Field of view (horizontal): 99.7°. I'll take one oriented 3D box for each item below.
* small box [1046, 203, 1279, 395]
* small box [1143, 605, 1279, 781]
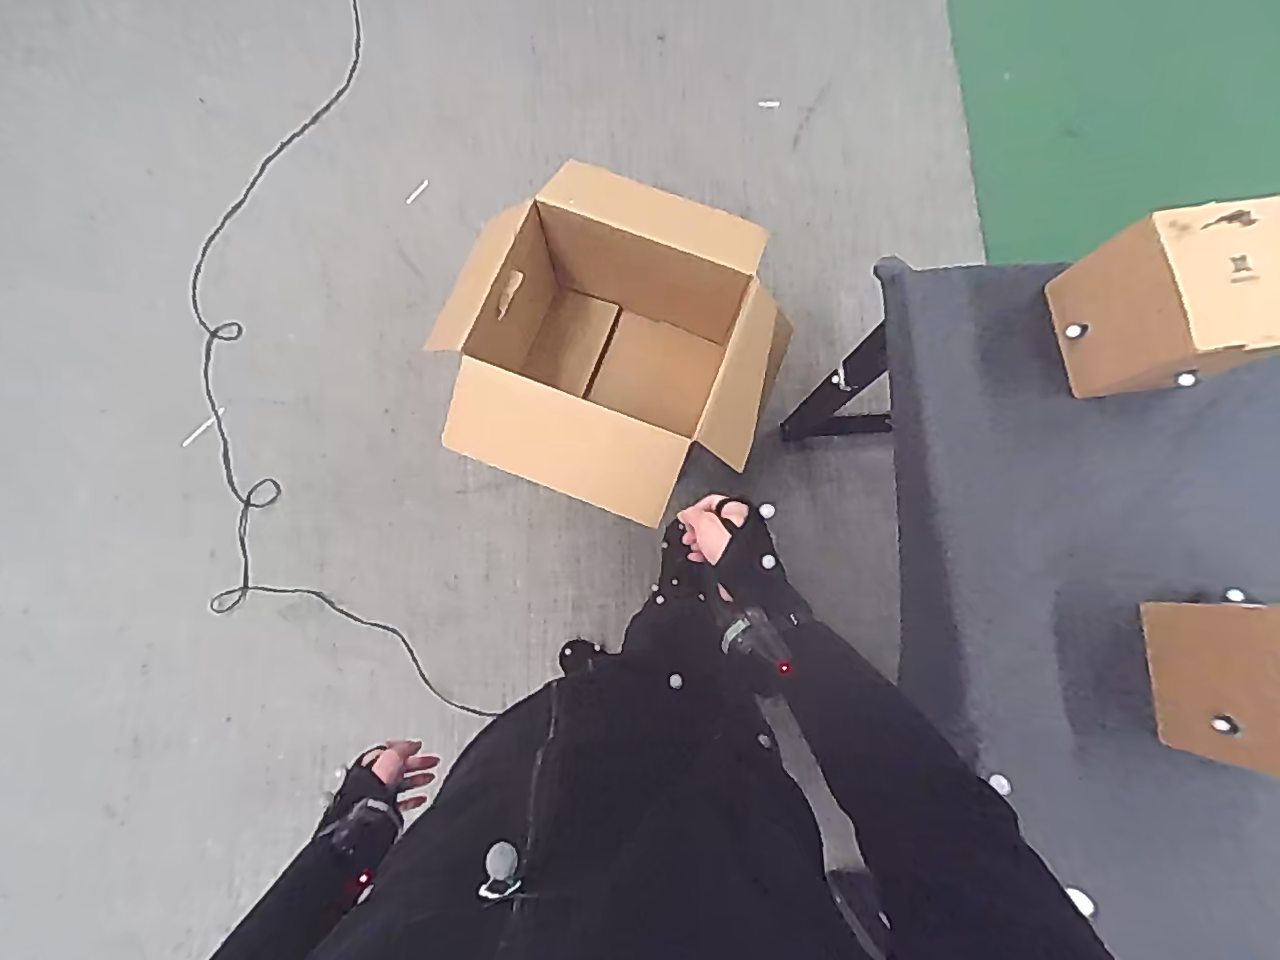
[{"bbox_3d":[0.674,-0.216,0.692,0.168,0.176,0.179,-8,81,-3],"label":"small box"},{"bbox_3d":[0.733,0.235,0.611,0.168,0.176,0.179,1,78,-2],"label":"small box"}]
